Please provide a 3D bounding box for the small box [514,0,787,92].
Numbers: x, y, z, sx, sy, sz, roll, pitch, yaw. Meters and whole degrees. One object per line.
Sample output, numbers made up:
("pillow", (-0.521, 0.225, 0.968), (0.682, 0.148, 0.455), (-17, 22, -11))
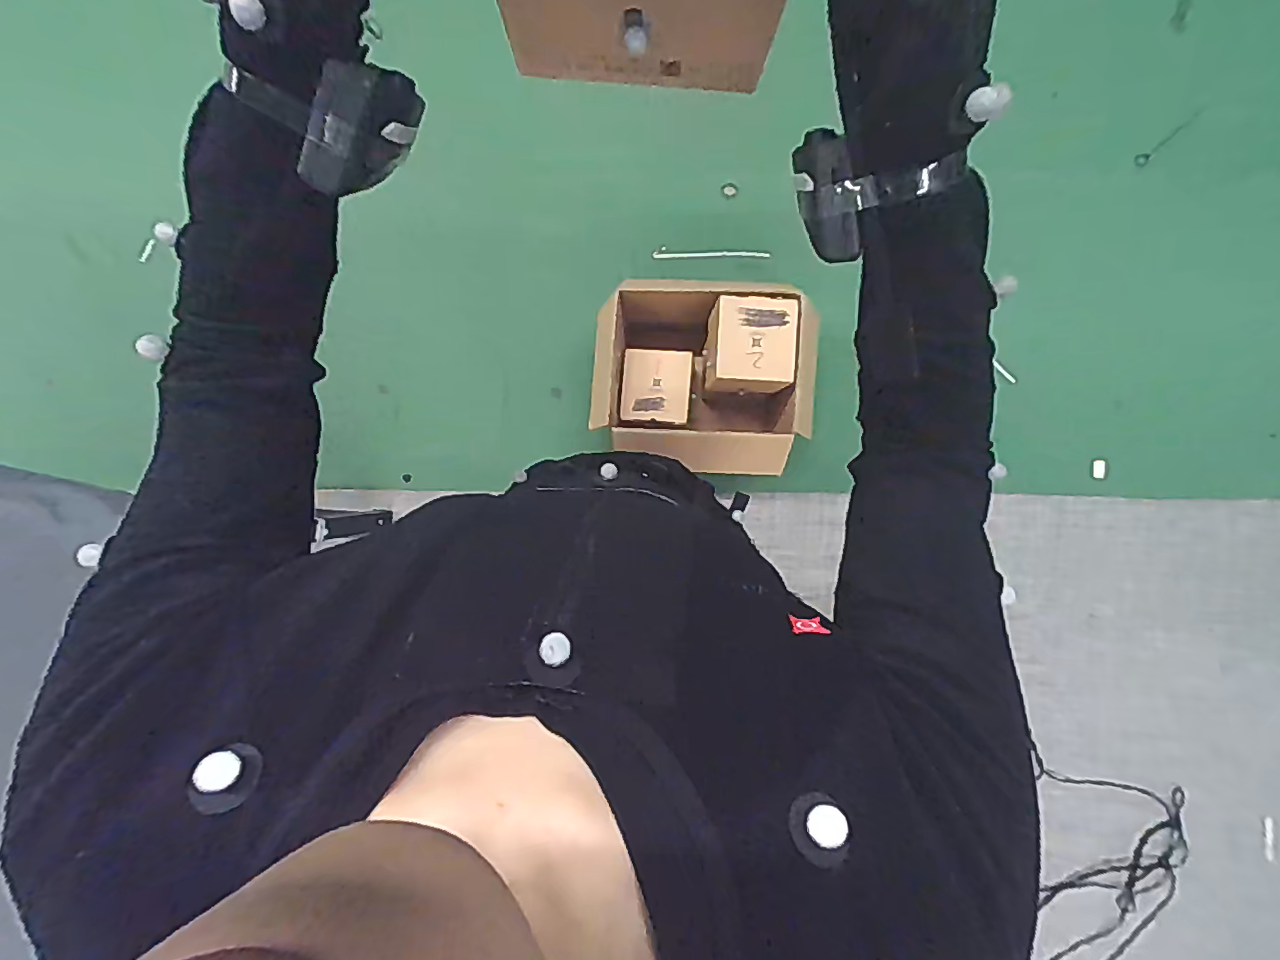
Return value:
("small box", (0.008, -0.357, 0.288), (0.168, 0.176, 0.179), (4, 93, -1))
